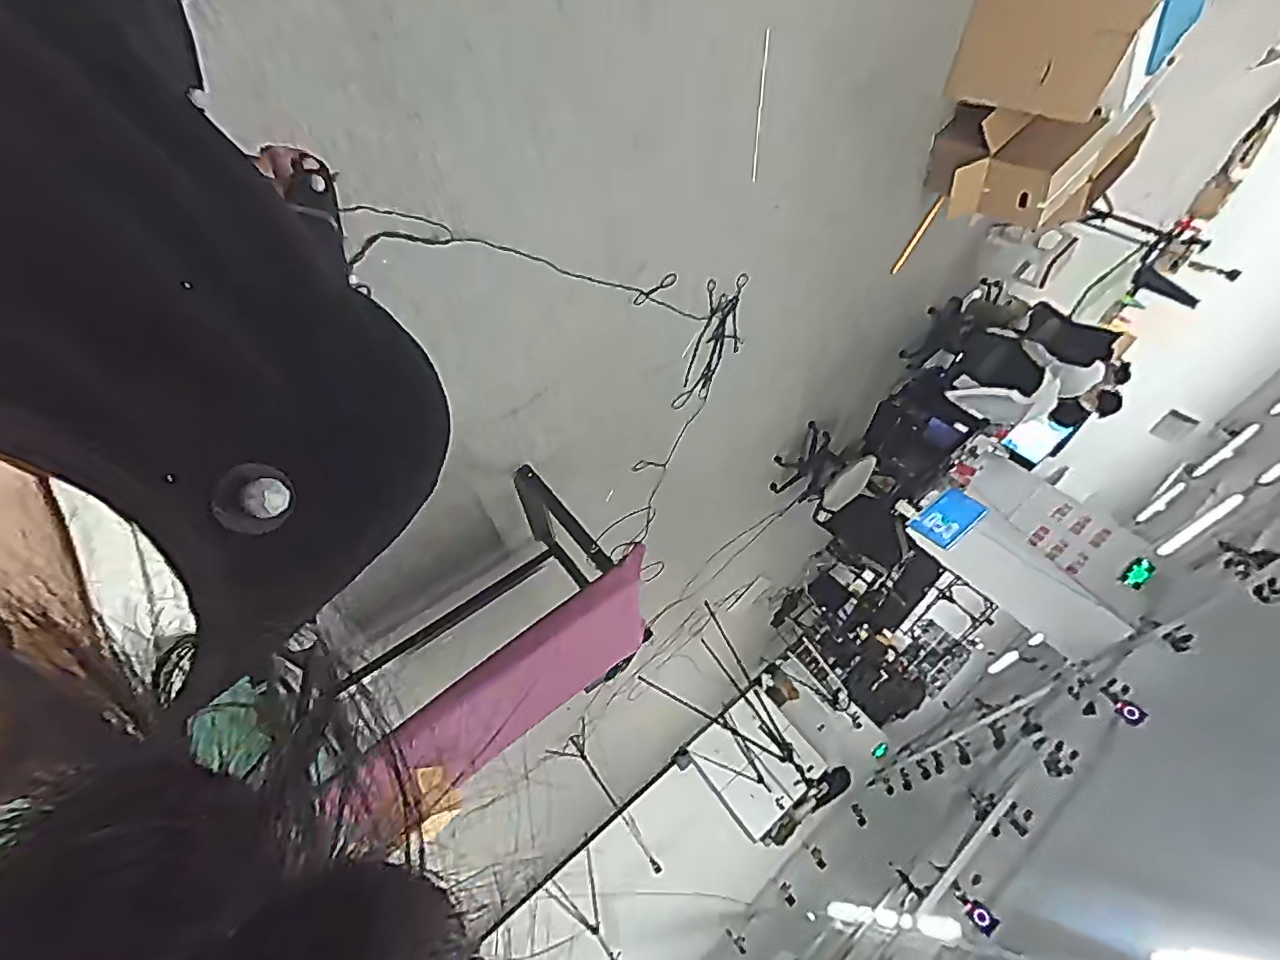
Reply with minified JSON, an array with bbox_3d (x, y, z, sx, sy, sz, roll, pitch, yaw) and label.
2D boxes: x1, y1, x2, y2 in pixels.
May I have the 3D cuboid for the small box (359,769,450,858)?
[{"bbox_3d":[-0.751,1.046,1.721,0.179,0.176,0.168,-43,151,-4],"label":"small box"}]
